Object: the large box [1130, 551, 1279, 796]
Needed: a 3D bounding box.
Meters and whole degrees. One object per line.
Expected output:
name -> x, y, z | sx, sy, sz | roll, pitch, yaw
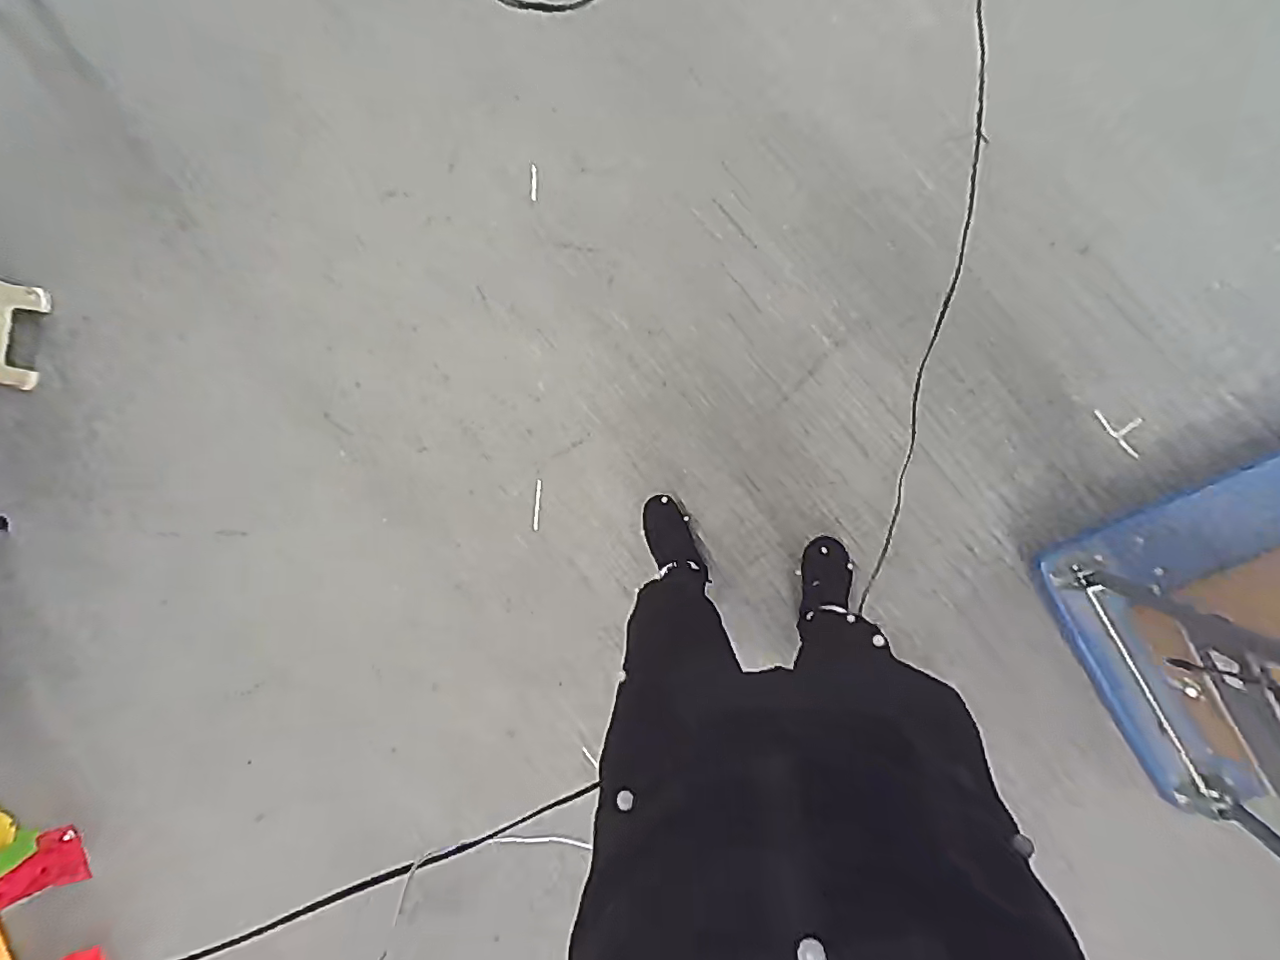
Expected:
large box -> 1.168, 0.308, 0.872 | 0.408, 0.320, 0.320 | -29, 86, 11
